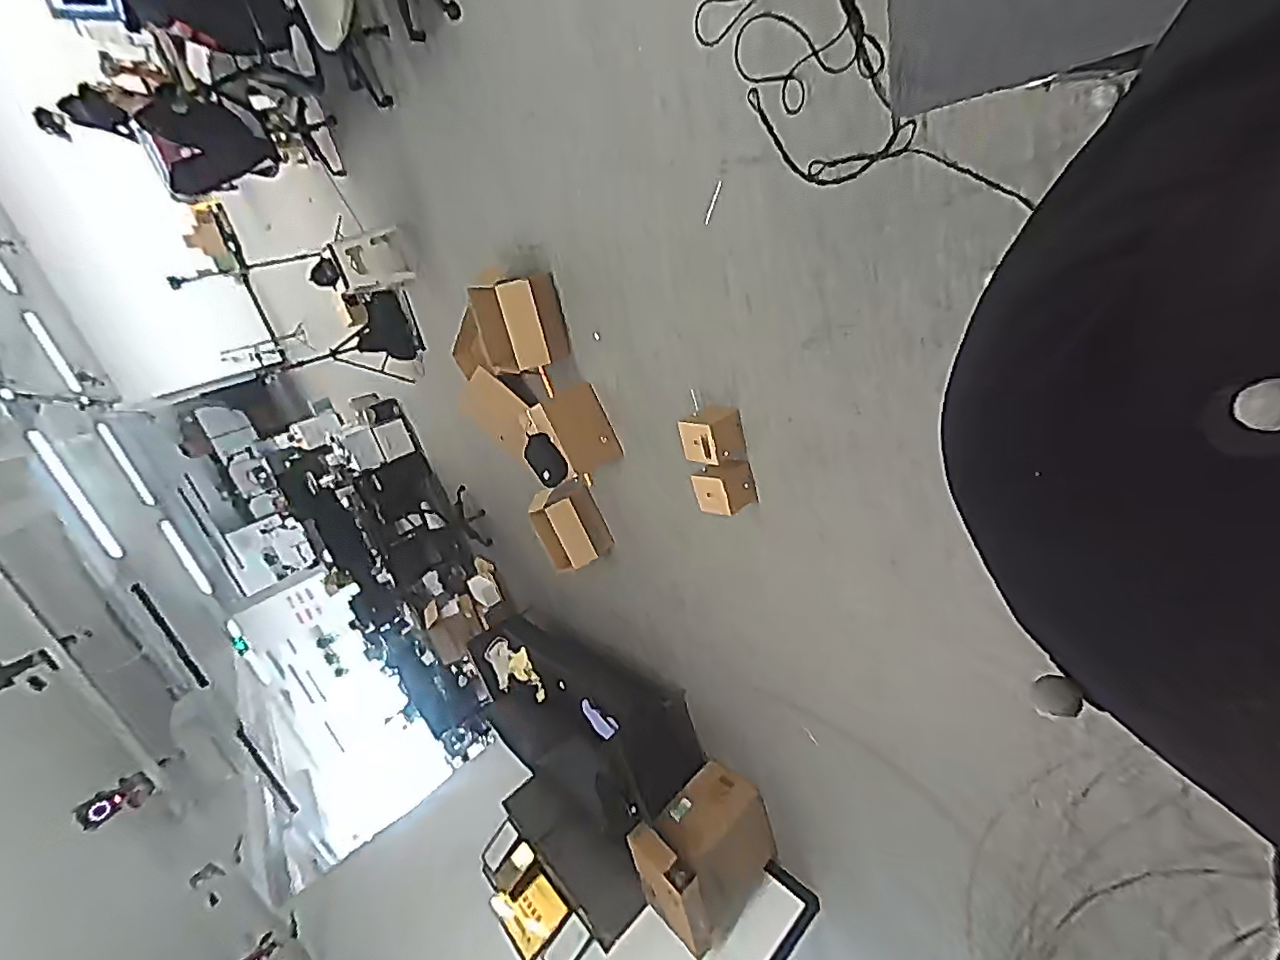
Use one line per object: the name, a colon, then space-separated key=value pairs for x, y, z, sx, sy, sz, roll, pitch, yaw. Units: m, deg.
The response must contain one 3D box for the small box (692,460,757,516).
small box: x=0.343 y=0.027 z=2.191 sx=0.179 sy=0.176 sz=0.168 roll=7 pitch=121 yaw=52
